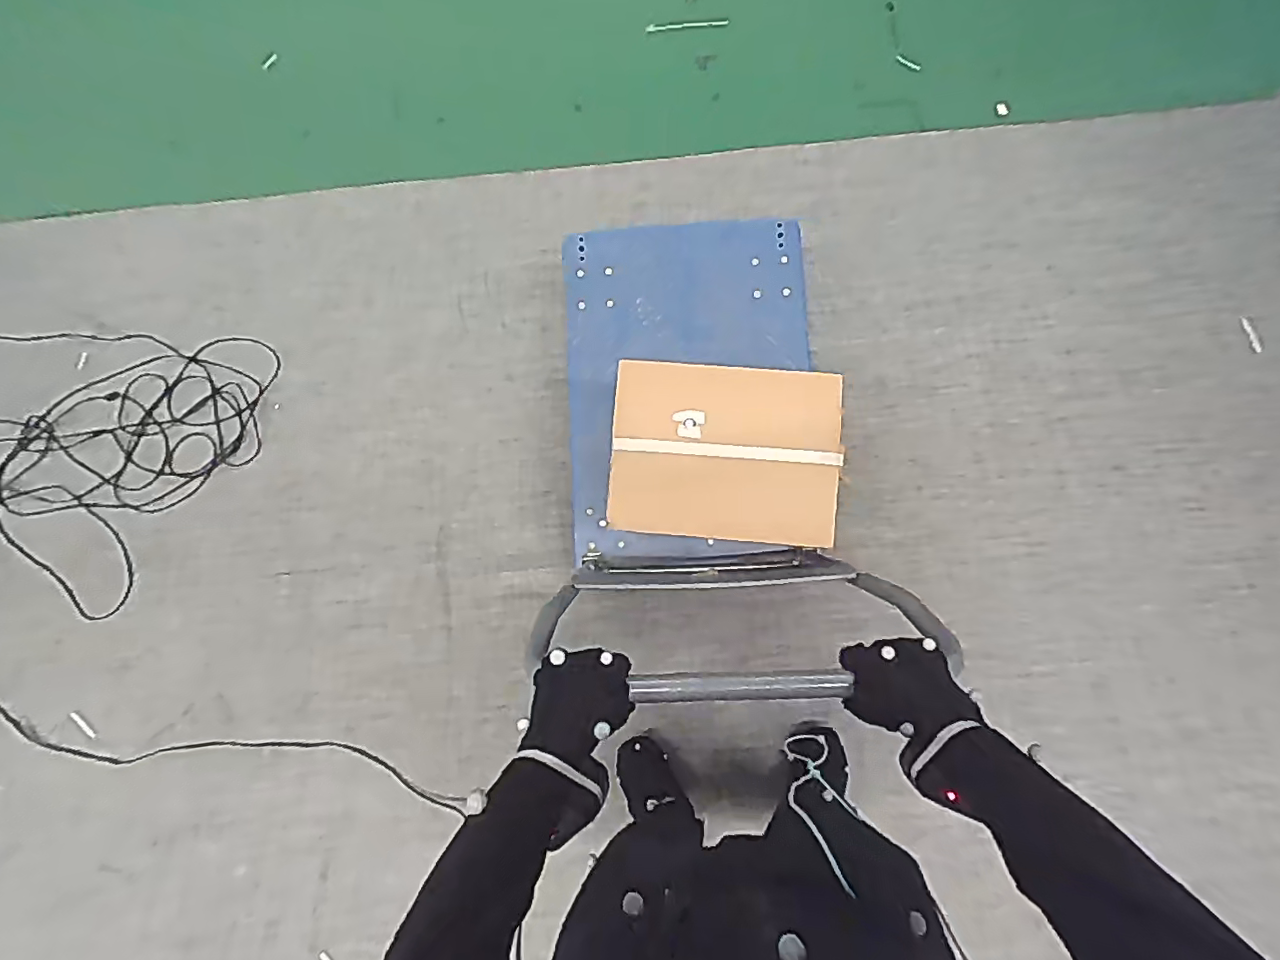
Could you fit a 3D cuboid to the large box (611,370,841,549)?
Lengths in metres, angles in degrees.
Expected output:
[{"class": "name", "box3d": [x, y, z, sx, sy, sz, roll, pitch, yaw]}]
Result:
[{"class": "large box", "box3d": [0.166, -0.034, 1.111, 0.408, 0.320, 0.320, 3, 86, 5]}]
